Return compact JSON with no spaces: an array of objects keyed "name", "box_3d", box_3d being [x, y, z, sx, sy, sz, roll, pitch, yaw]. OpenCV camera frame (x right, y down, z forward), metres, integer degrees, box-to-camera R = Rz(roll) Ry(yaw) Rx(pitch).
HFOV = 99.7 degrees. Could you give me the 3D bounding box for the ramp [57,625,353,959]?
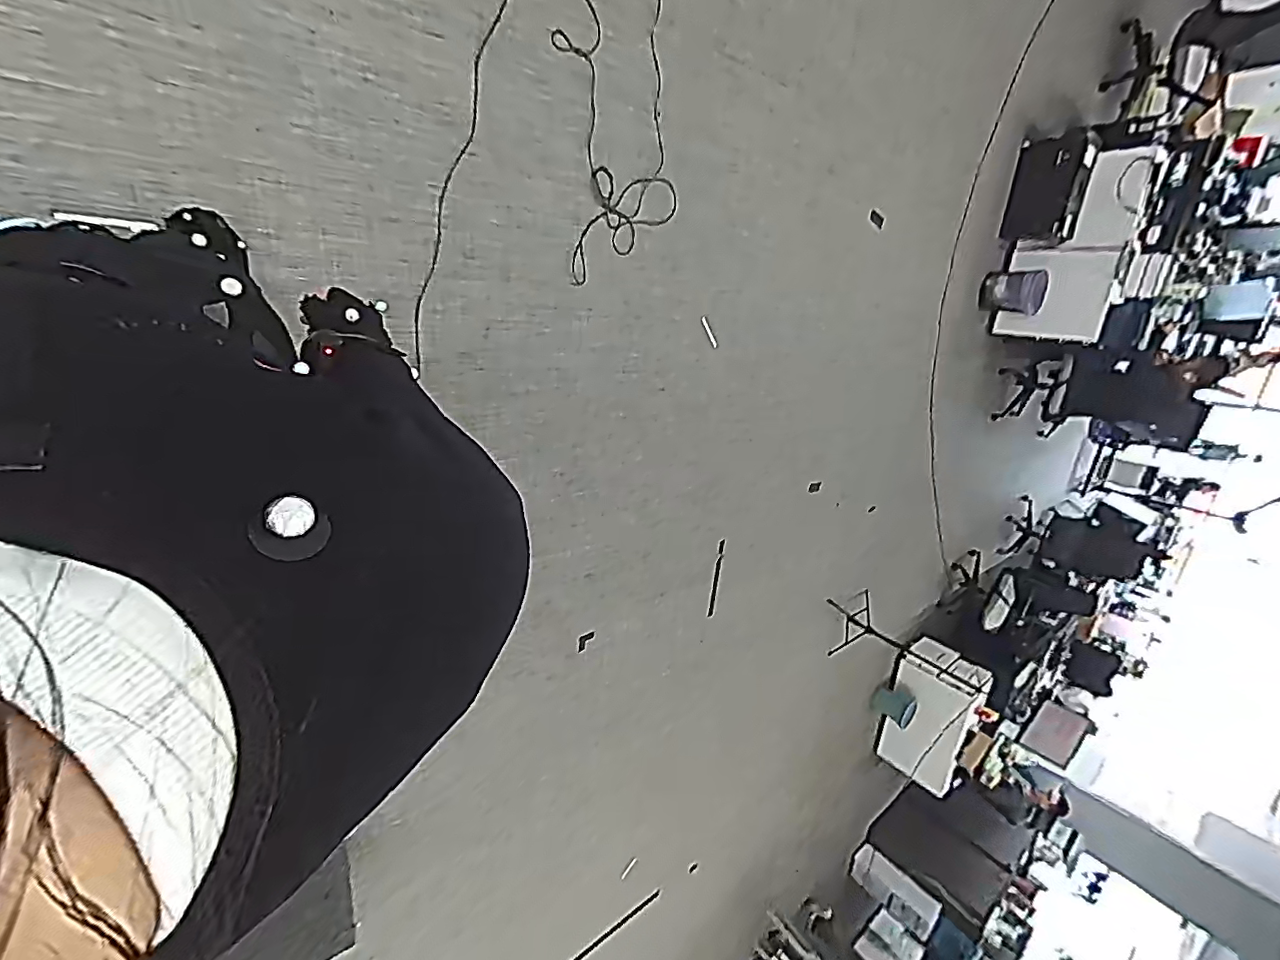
[{"name":"ramp","box_3d":[-1.041,0.897,1.365,0.509,0.206,0.991,-9,113,-38]}]
